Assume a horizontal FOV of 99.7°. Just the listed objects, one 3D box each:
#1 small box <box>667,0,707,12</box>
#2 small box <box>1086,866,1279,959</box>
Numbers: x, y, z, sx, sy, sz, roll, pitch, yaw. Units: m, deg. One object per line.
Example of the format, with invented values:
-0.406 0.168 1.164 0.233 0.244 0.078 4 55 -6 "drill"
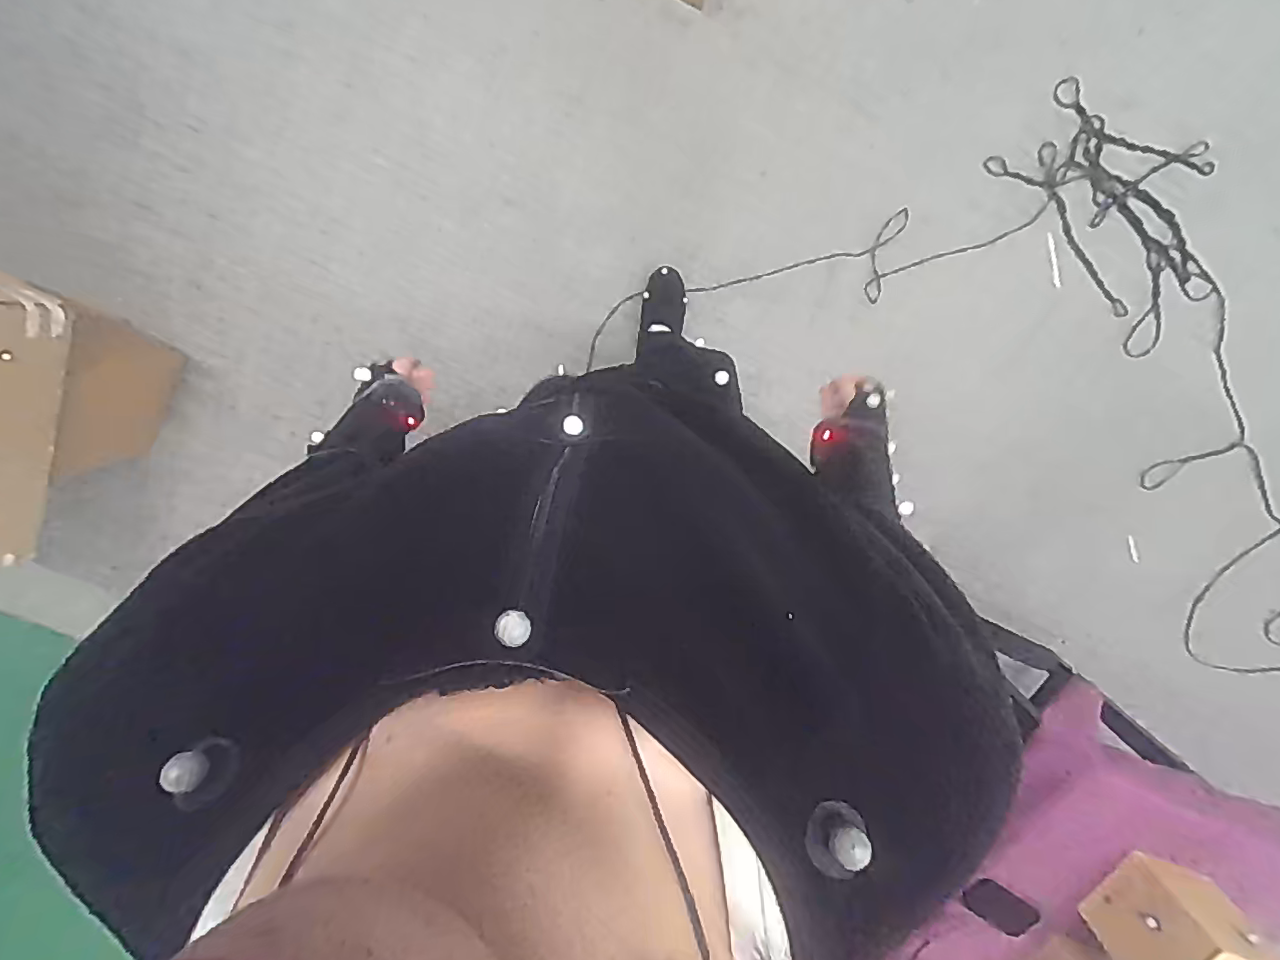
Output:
0.091 -1.114 1.103 0.179 0.176 0.168 24 105 -6 "small box"
0.921 0.798 0.909 0.179 0.176 0.168 23 105 -7 "small box"
